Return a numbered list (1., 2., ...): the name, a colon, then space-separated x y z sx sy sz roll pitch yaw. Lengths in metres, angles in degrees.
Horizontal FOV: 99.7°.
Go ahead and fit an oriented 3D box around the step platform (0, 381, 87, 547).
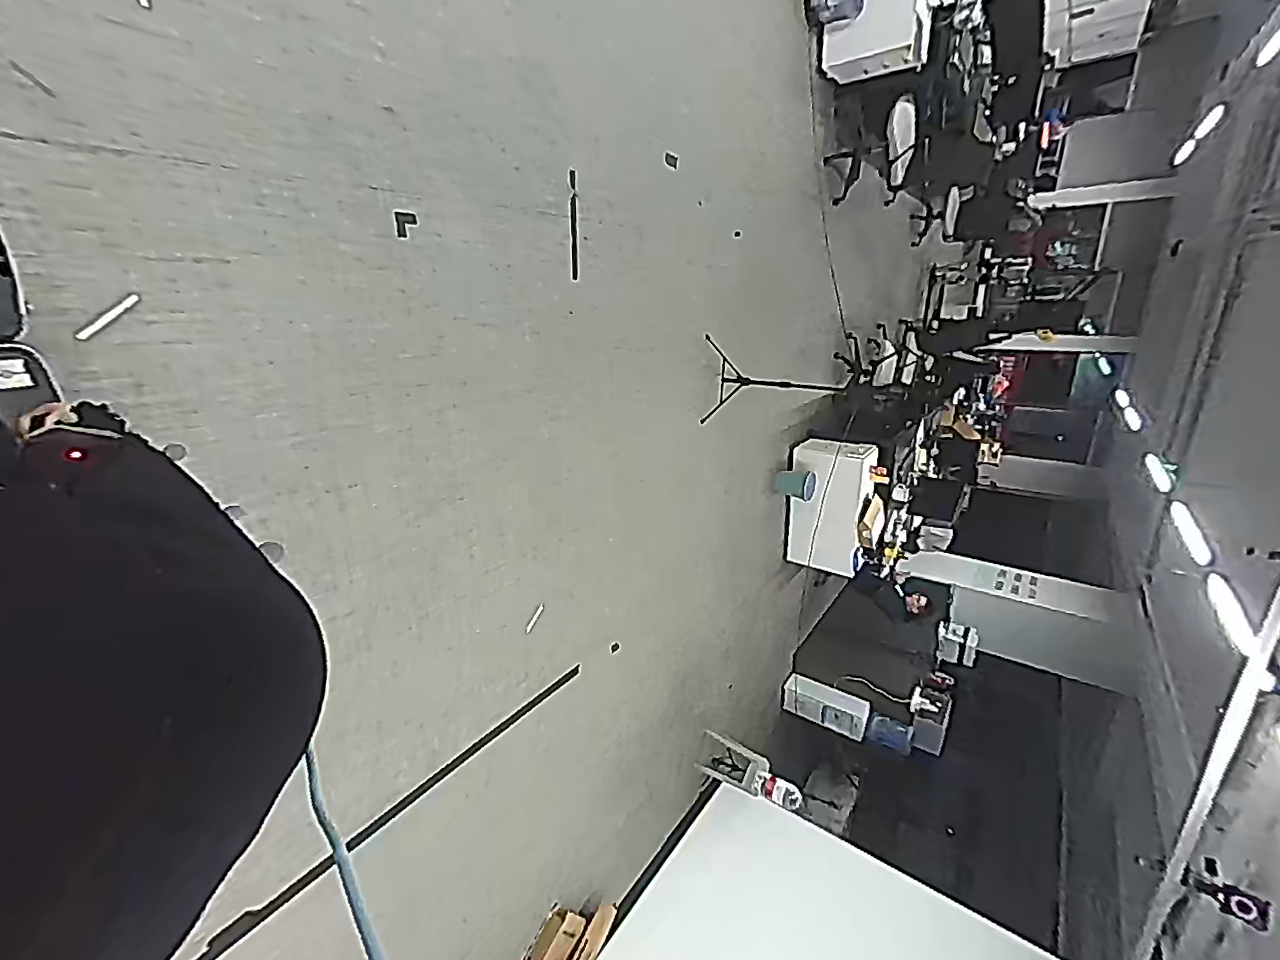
1. step platform: -1.309 0.008 0.801 0.684 0.204 0.286 -15 110 -50
